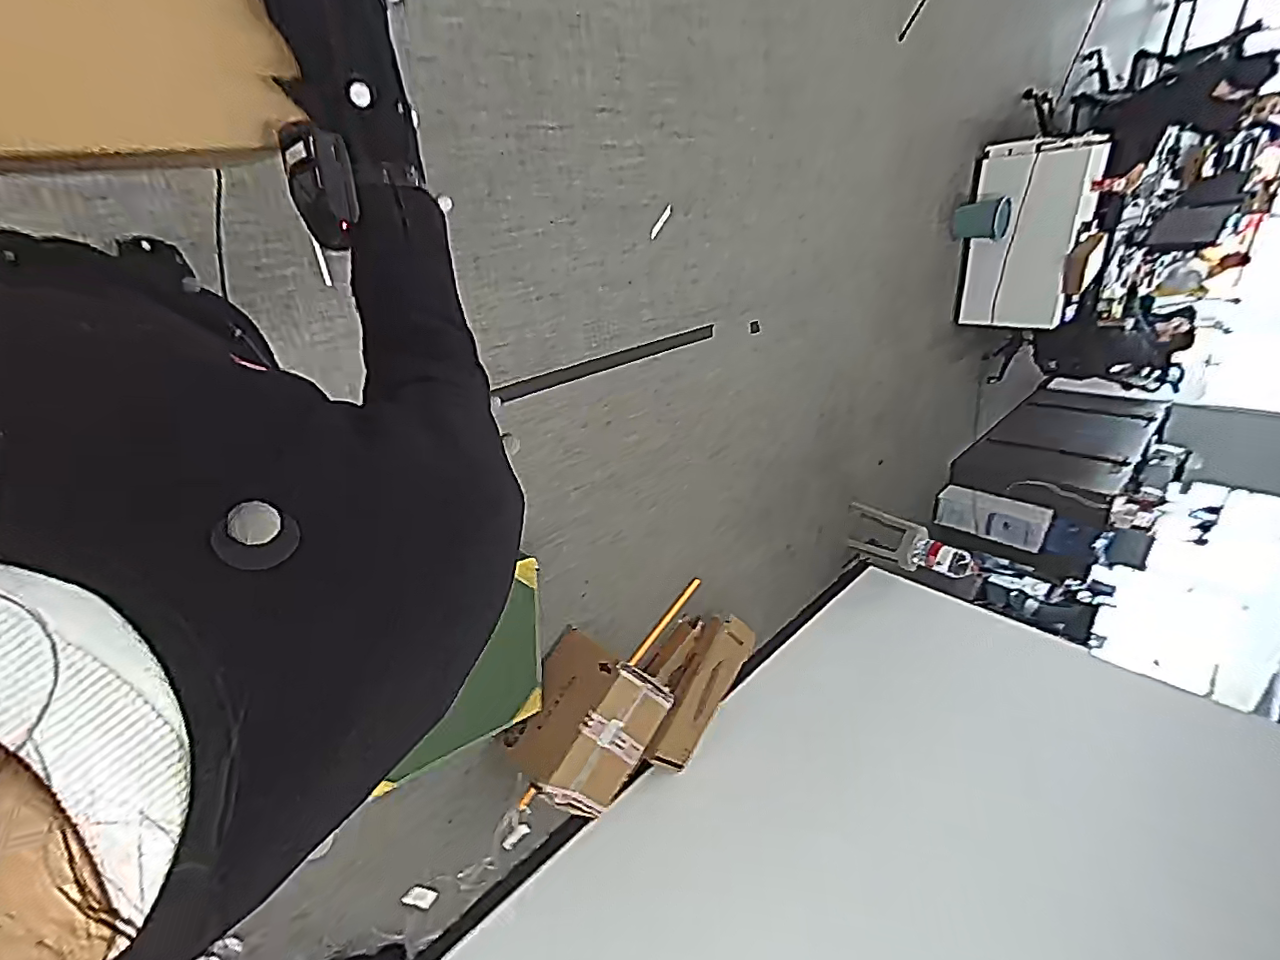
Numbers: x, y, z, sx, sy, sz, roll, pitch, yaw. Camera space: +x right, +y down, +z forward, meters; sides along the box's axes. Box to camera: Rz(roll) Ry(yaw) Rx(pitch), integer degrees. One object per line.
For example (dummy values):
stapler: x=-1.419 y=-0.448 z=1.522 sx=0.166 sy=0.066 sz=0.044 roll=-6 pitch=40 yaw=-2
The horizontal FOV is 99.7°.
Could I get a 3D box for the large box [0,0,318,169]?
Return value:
large box: x=-0.491 y=-0.362 z=0.312 sx=0.408 sy=0.320 sz=0.320 roll=-27 pitch=128 yaw=-33
